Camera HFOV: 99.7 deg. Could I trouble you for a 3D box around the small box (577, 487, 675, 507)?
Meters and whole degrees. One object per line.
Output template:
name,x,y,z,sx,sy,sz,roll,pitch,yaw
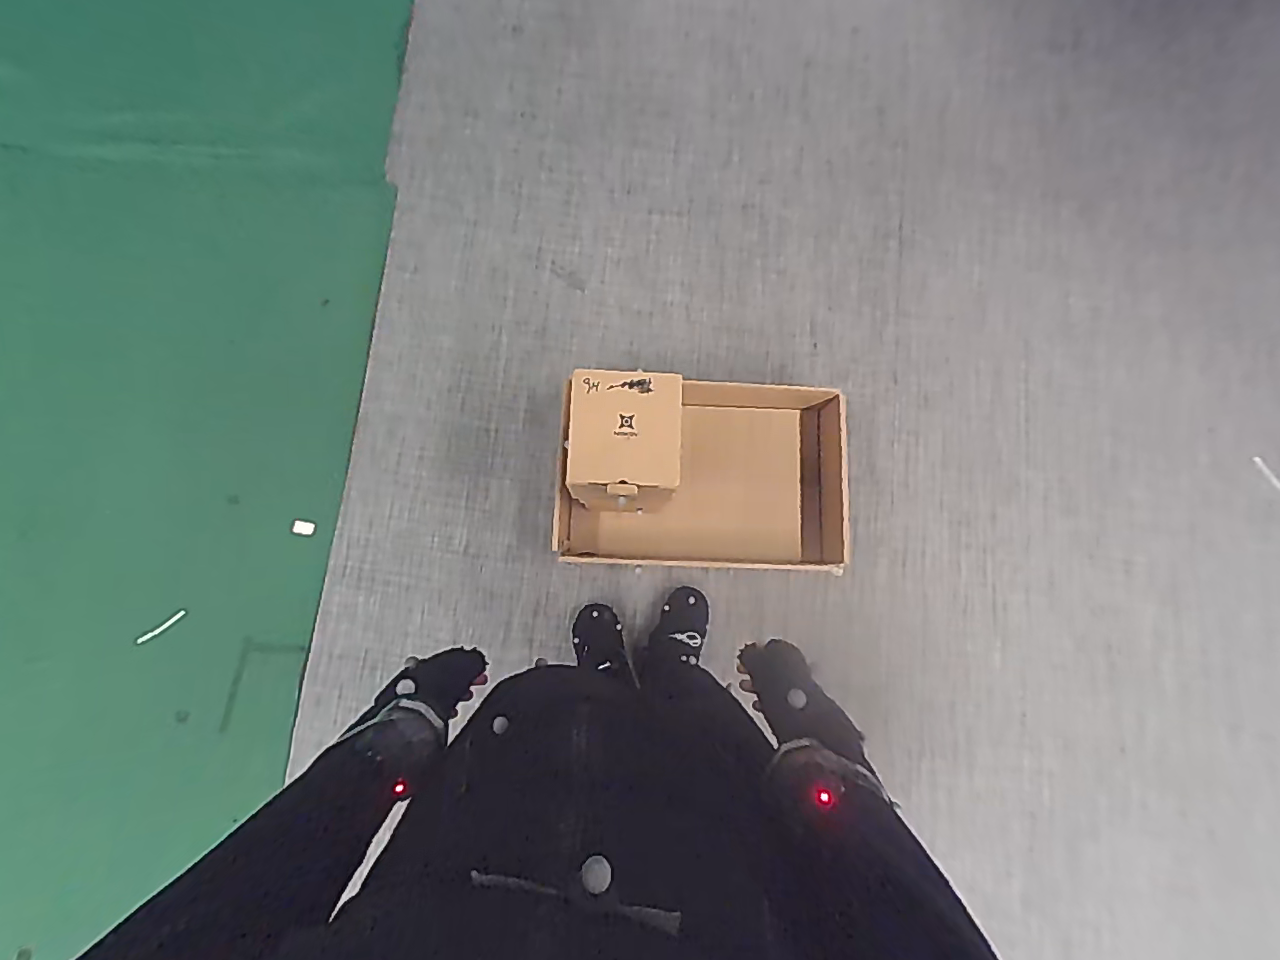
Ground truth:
small box,-0.025,-0.040,1.043,0.179,0.176,0.168,3,81,-1

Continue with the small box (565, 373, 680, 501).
small box,-0.027,-0.061,0.881,0.168,0.176,0.179,2,81,-2
